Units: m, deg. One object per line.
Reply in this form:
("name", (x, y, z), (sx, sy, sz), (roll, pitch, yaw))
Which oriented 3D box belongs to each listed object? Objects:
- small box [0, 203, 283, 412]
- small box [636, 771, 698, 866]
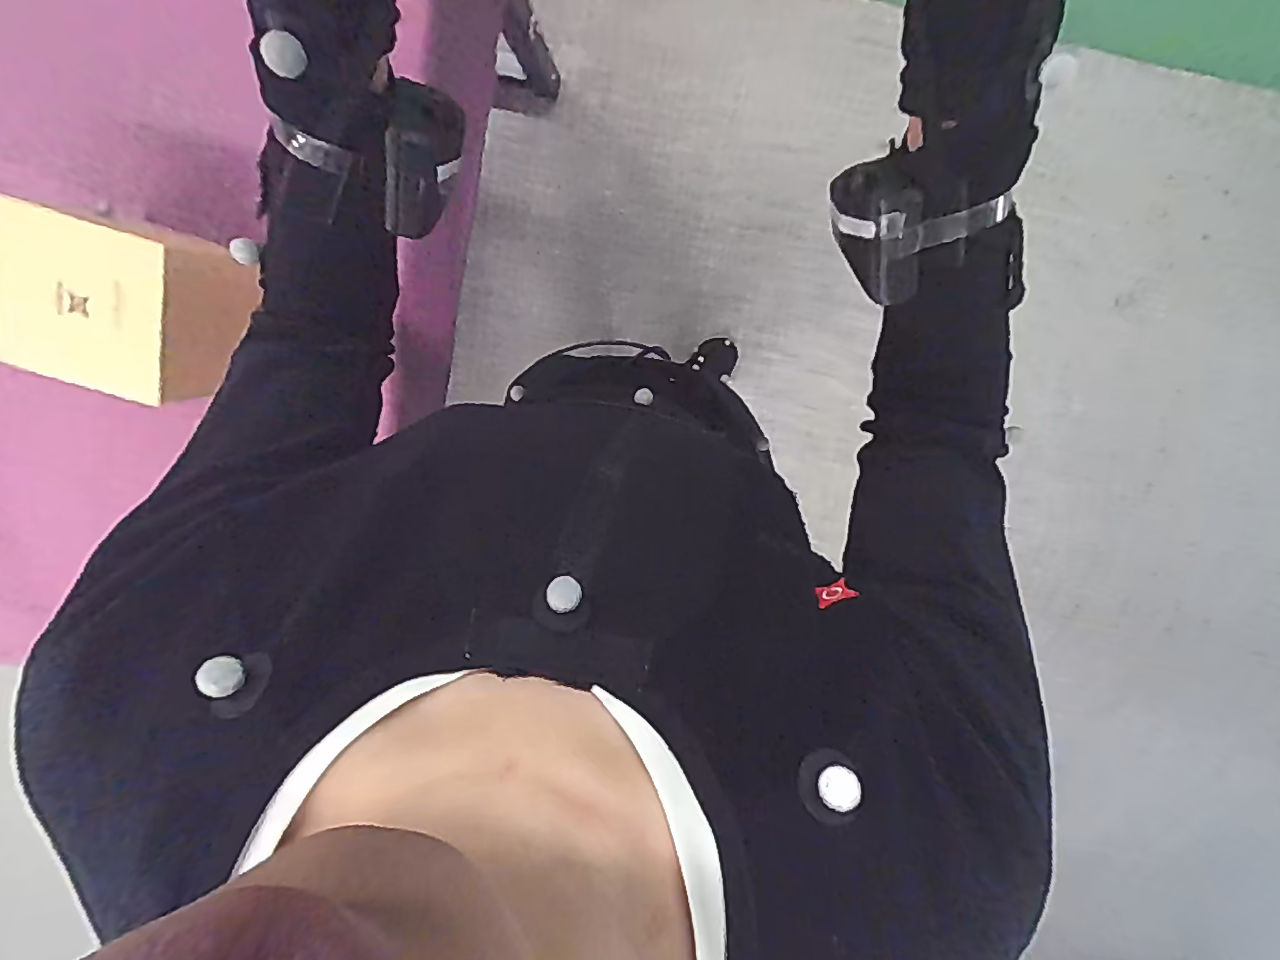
("small box", (-0.555, -0.189, 0.617), (0.179, 0.176, 0.168), (16, 106, -3))
("small box", (0.084, 1.059, 1.700), (0.168, 0.176, 0.179), (9, 106, -1))
